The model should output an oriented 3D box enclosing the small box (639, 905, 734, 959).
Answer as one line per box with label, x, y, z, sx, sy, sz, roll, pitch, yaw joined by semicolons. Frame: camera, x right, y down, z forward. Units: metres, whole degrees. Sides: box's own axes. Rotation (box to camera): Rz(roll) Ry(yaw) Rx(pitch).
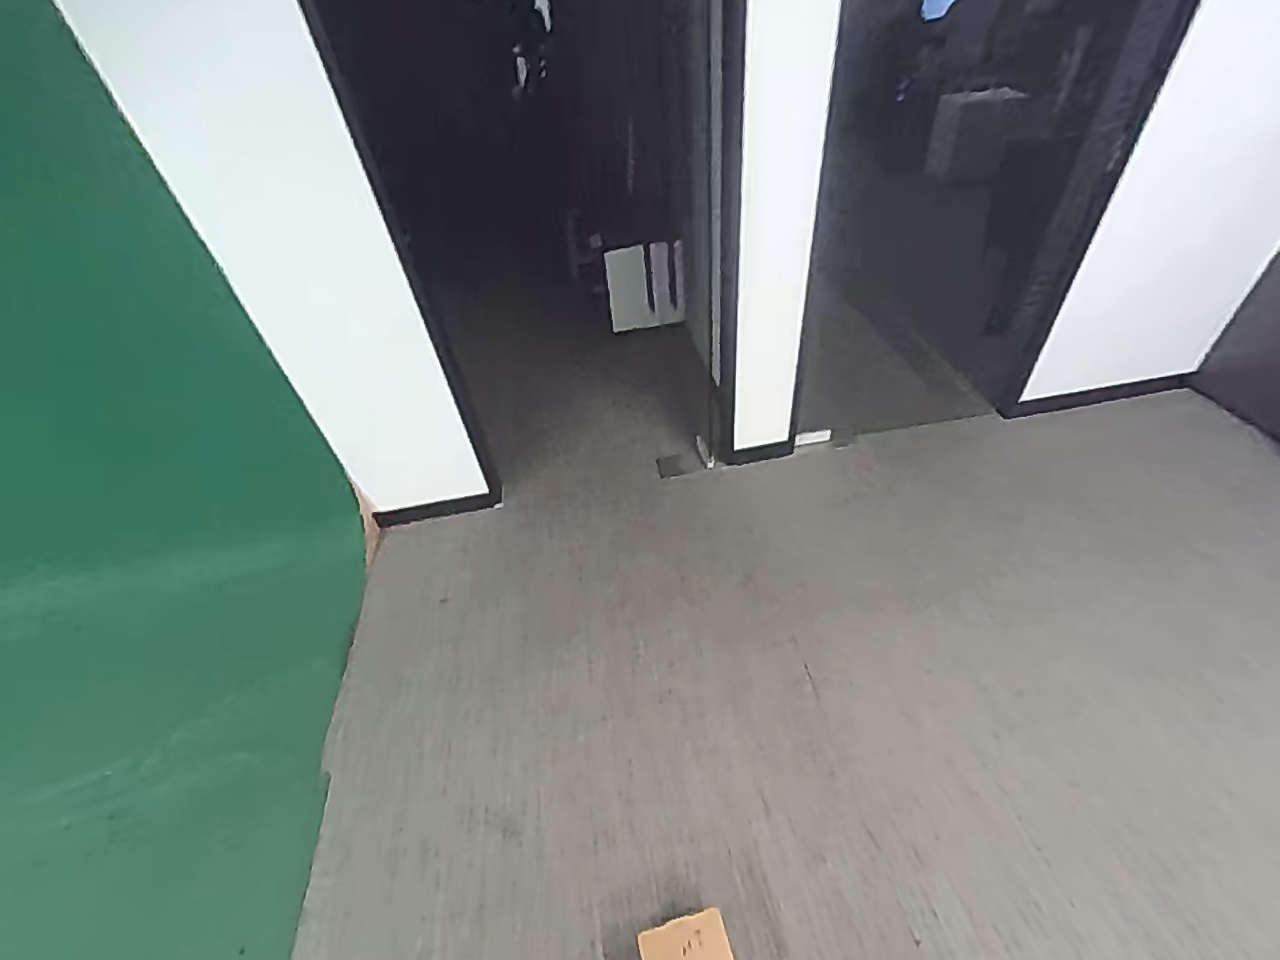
small box;0.103;0.953;1.031;0.168;0.176;0.179;-13;43;-7
